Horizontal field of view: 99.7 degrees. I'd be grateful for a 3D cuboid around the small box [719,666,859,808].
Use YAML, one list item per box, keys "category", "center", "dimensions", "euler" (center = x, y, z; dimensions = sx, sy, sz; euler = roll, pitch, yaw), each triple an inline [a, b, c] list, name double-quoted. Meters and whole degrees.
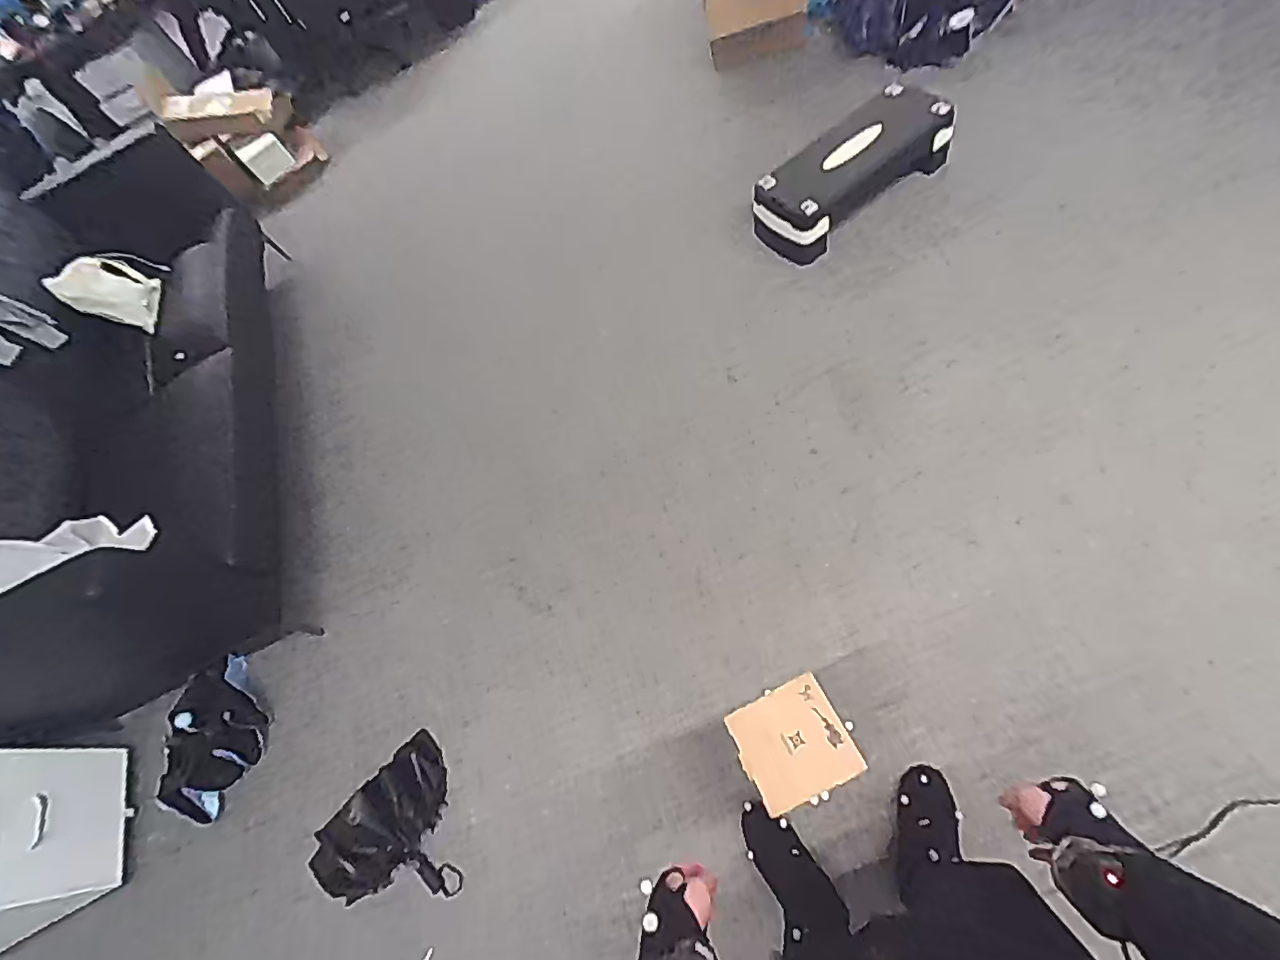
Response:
- category: "small box"
  center: [0.268, 0.458, 0.969]
  dimensions: [0.179, 0.176, 0.168]
  euler: [-30, 60, 4]
